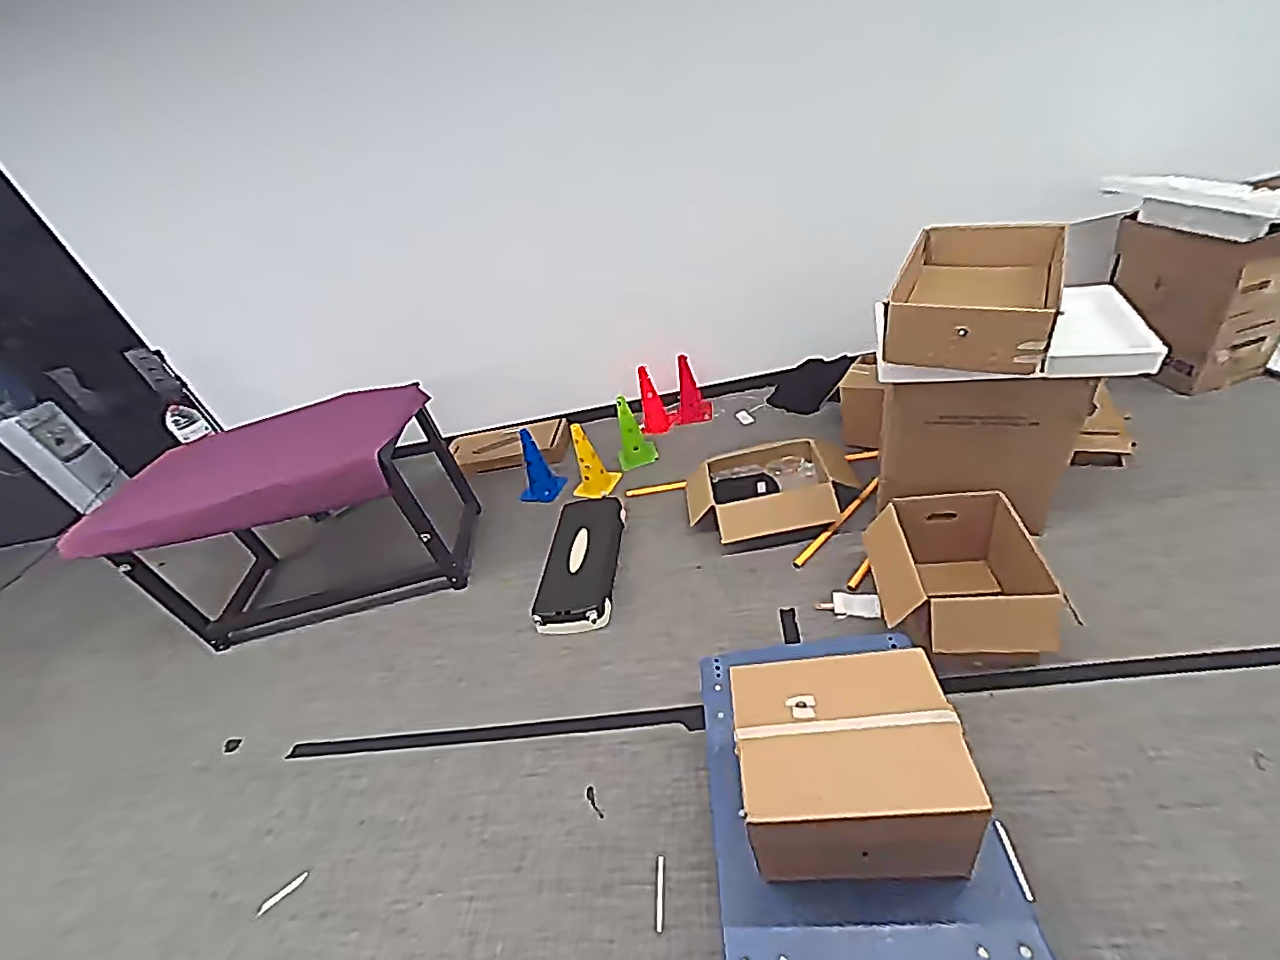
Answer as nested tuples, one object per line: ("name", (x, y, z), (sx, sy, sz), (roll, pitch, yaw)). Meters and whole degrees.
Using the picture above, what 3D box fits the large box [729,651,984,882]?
("large box", (0.424, 0.603, 1.135), (0.408, 0.320, 0.320), (-11, 35, 10))
